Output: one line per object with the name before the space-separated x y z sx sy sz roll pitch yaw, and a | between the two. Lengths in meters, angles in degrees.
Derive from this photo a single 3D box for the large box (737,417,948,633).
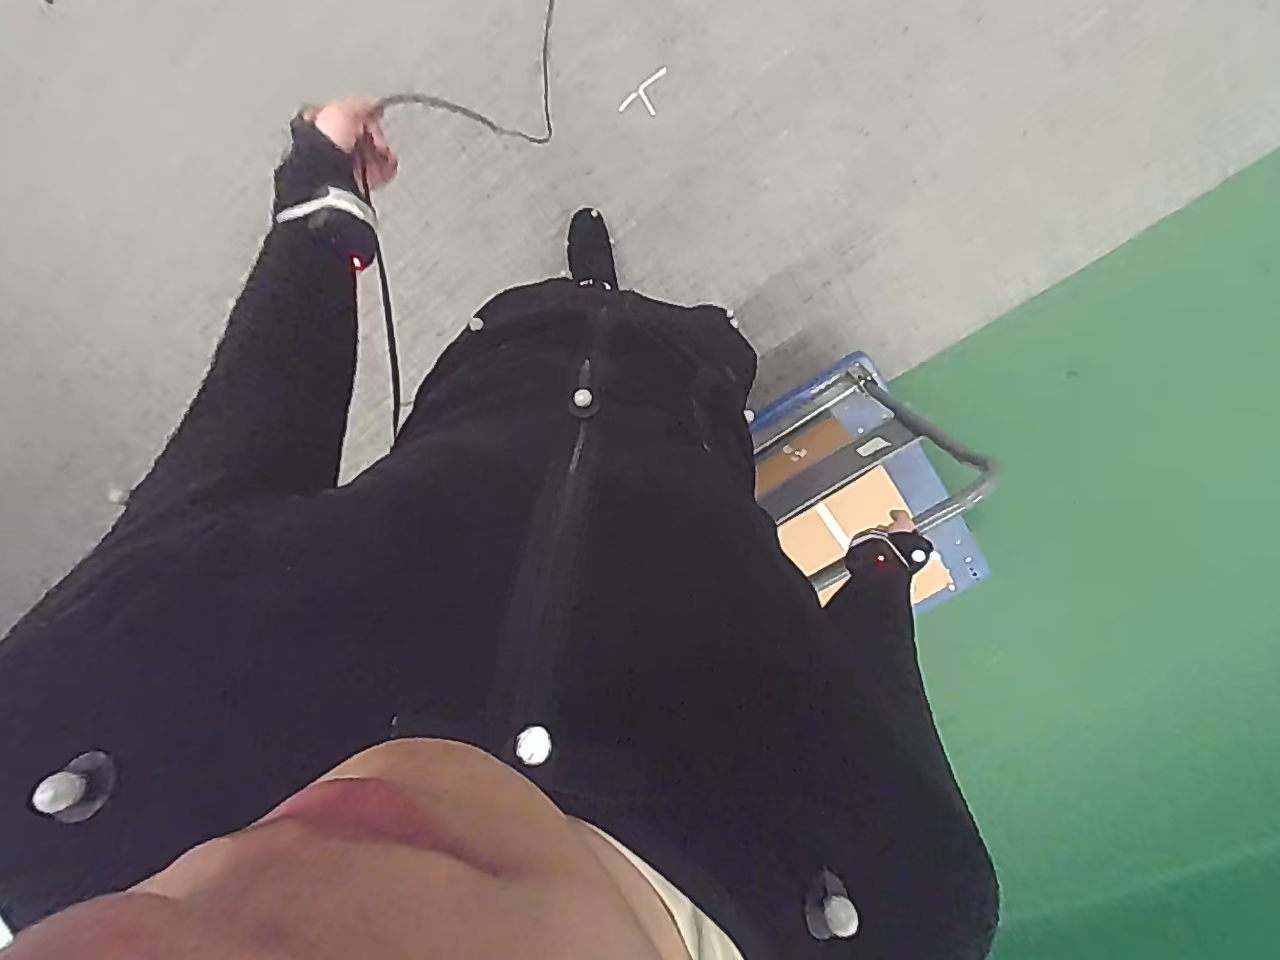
large box | 0.510 0.111 1.422 0.320 0.320 0.408 -34 112 16
